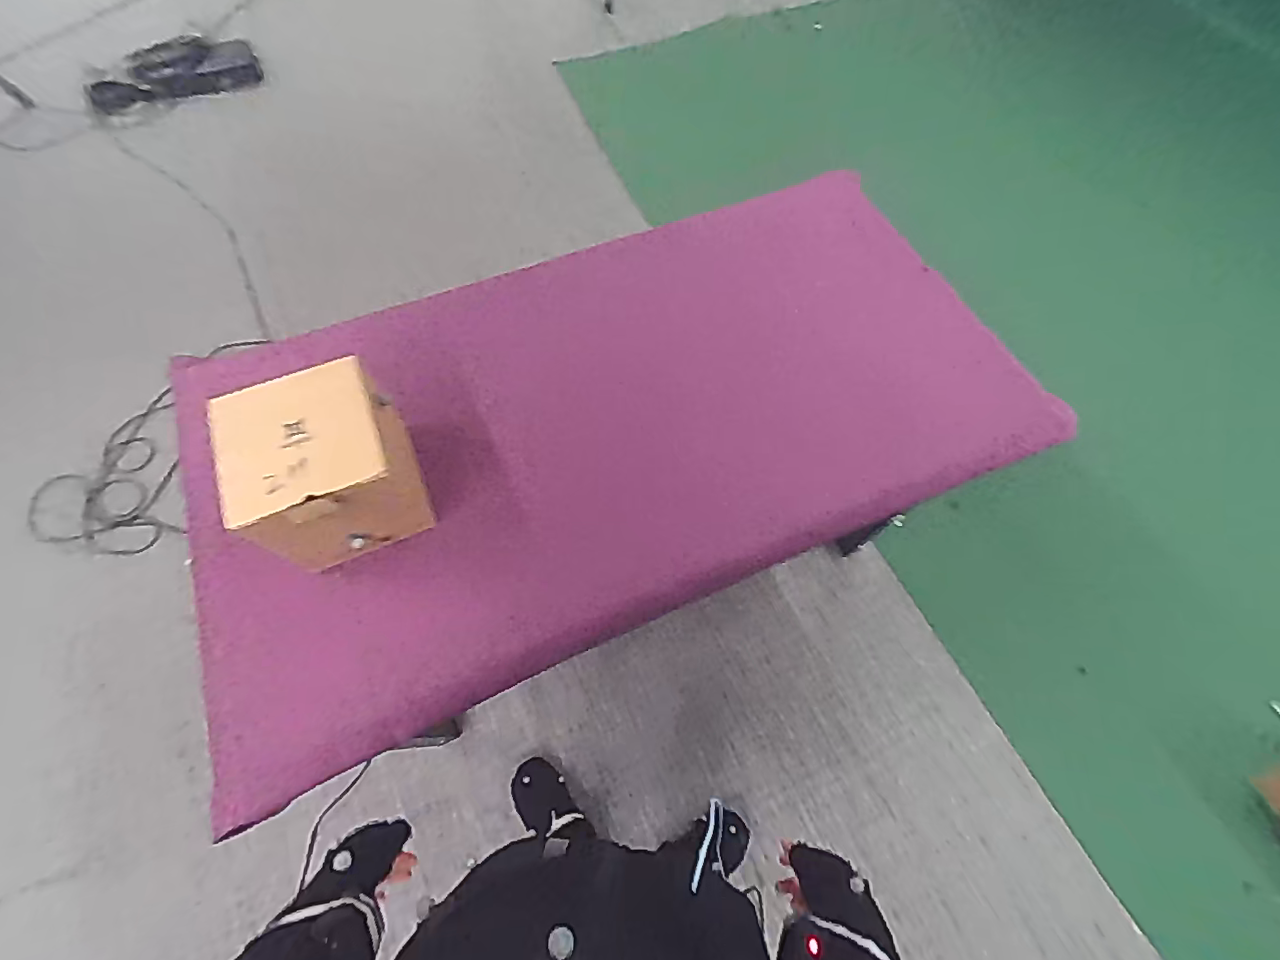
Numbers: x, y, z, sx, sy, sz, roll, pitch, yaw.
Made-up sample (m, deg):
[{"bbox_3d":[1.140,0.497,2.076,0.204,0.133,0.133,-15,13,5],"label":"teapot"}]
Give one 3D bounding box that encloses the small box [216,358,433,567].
[{"bbox_3d":[-0.384,-0.015,0.679,0.168,0.176,0.179,-22,68,-10],"label":"small box"}]
